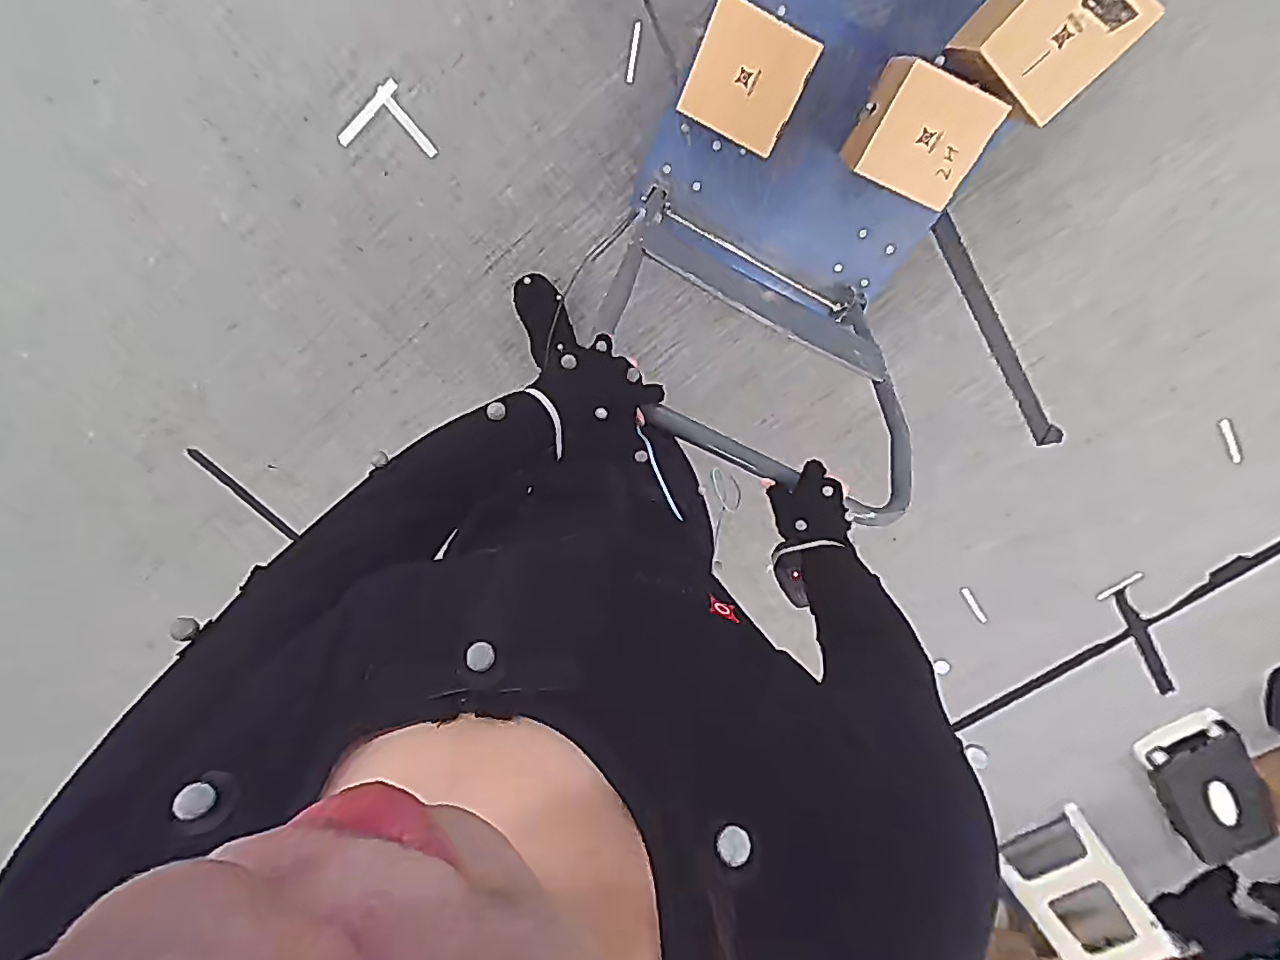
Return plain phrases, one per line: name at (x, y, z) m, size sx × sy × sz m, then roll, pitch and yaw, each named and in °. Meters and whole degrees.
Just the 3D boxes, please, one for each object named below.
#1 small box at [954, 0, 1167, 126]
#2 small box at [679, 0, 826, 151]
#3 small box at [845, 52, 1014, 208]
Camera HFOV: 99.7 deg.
small box at (0.630, -0.696, 0.834) m, size 0.168 × 0.176 × 0.179 m, roll 34°, pitch 127°, yaw -18°
small box at (0.181, -0.691, 0.913) m, size 0.179 × 0.176 × 0.168 m, roll 22°, pitch 129°, yaw -10°
small box at (0.482, -0.603, 0.934) m, size 0.179 × 0.176 × 0.168 m, roll 21°, pitch 129°, yaw -8°
